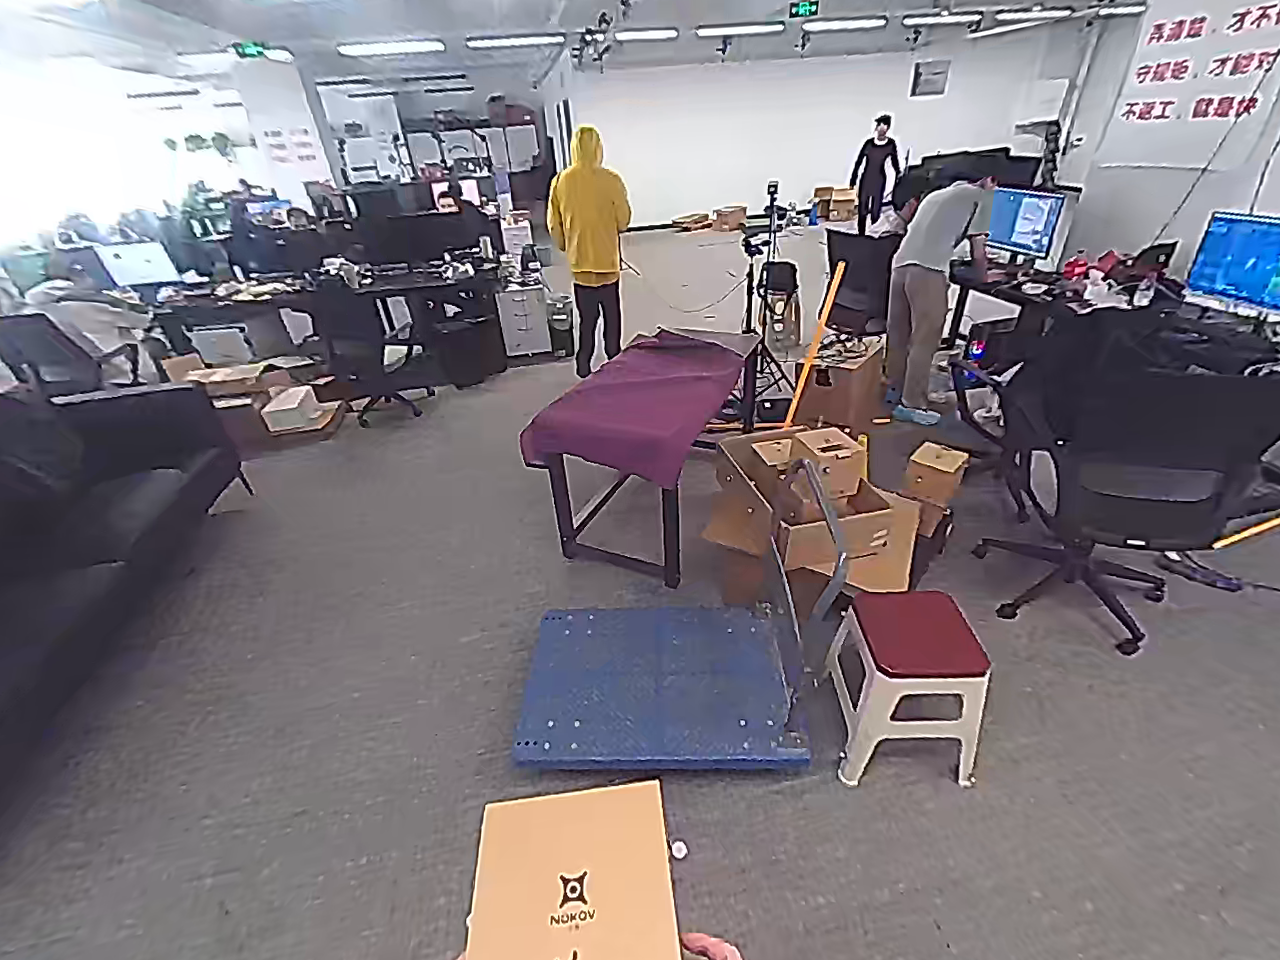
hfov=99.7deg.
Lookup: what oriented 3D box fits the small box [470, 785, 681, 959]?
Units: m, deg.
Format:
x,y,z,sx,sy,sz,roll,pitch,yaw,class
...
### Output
x,y,z,sx,sy,sz,roll,pitch,yaw,class
-0.048,0.414,0.491,0.168,0.176,0.179,-6,36,-1,small box
